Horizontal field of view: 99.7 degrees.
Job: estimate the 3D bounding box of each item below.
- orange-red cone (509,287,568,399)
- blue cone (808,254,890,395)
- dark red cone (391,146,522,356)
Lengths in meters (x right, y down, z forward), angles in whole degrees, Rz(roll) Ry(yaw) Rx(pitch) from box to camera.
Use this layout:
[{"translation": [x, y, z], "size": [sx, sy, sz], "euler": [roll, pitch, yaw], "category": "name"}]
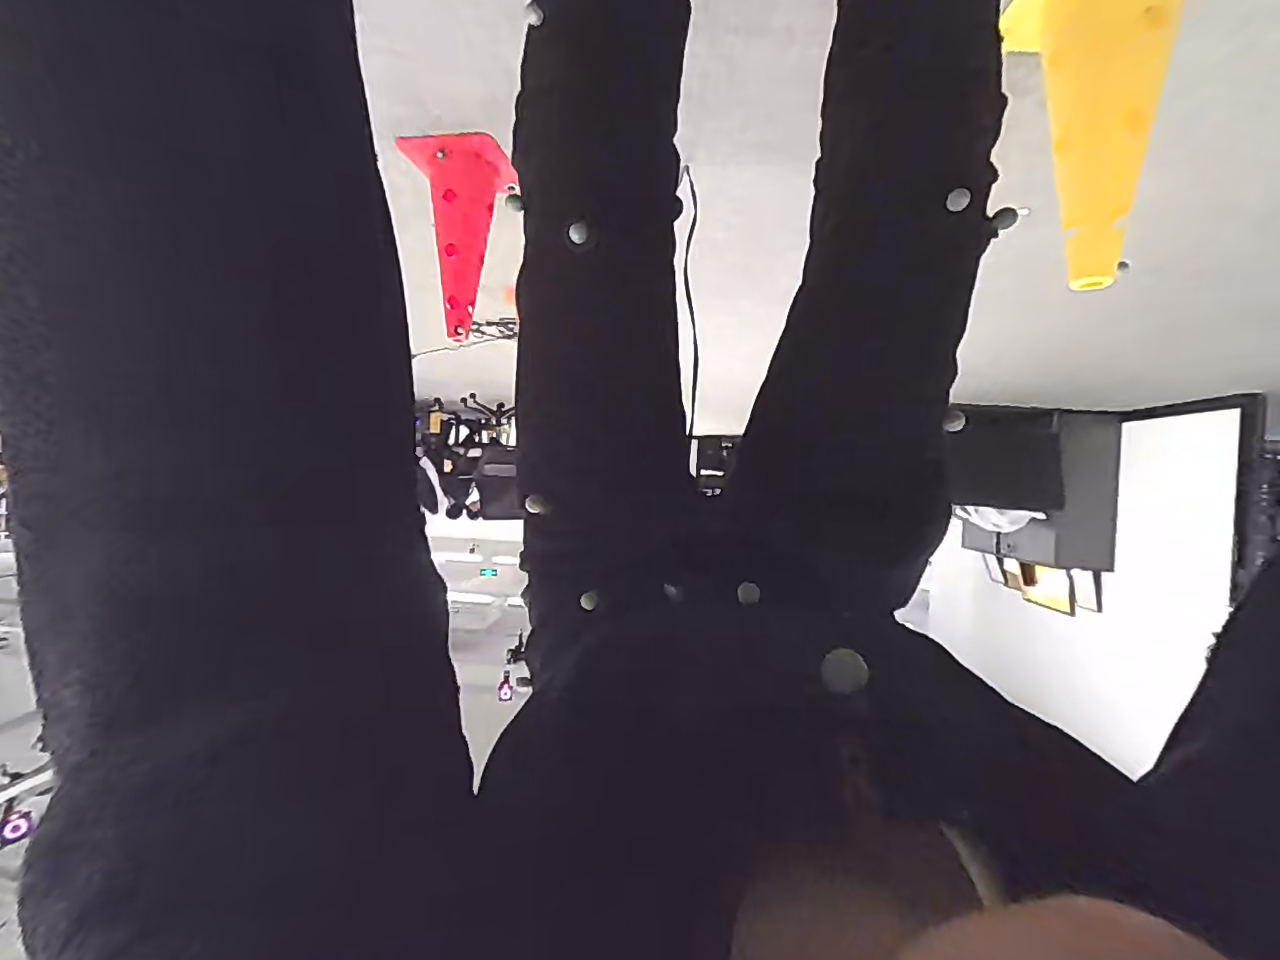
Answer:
[{"translation": [-0.375, -0.469, 1.917], "size": [0.199, 0.360, 0.198], "euler": [5, 179, -16], "category": "orange-red cone"}, {"translation": [0.571, -0.429, 1.517], "size": [0.192, 0.380, 0.193], "euler": [3, -179, 3], "category": "blue cone"}, {"translation": [-0.372, -0.444, 1.081], "size": [0.202, 0.394, 0.201], "euler": [3, 177, 11], "category": "dark red cone"}]
